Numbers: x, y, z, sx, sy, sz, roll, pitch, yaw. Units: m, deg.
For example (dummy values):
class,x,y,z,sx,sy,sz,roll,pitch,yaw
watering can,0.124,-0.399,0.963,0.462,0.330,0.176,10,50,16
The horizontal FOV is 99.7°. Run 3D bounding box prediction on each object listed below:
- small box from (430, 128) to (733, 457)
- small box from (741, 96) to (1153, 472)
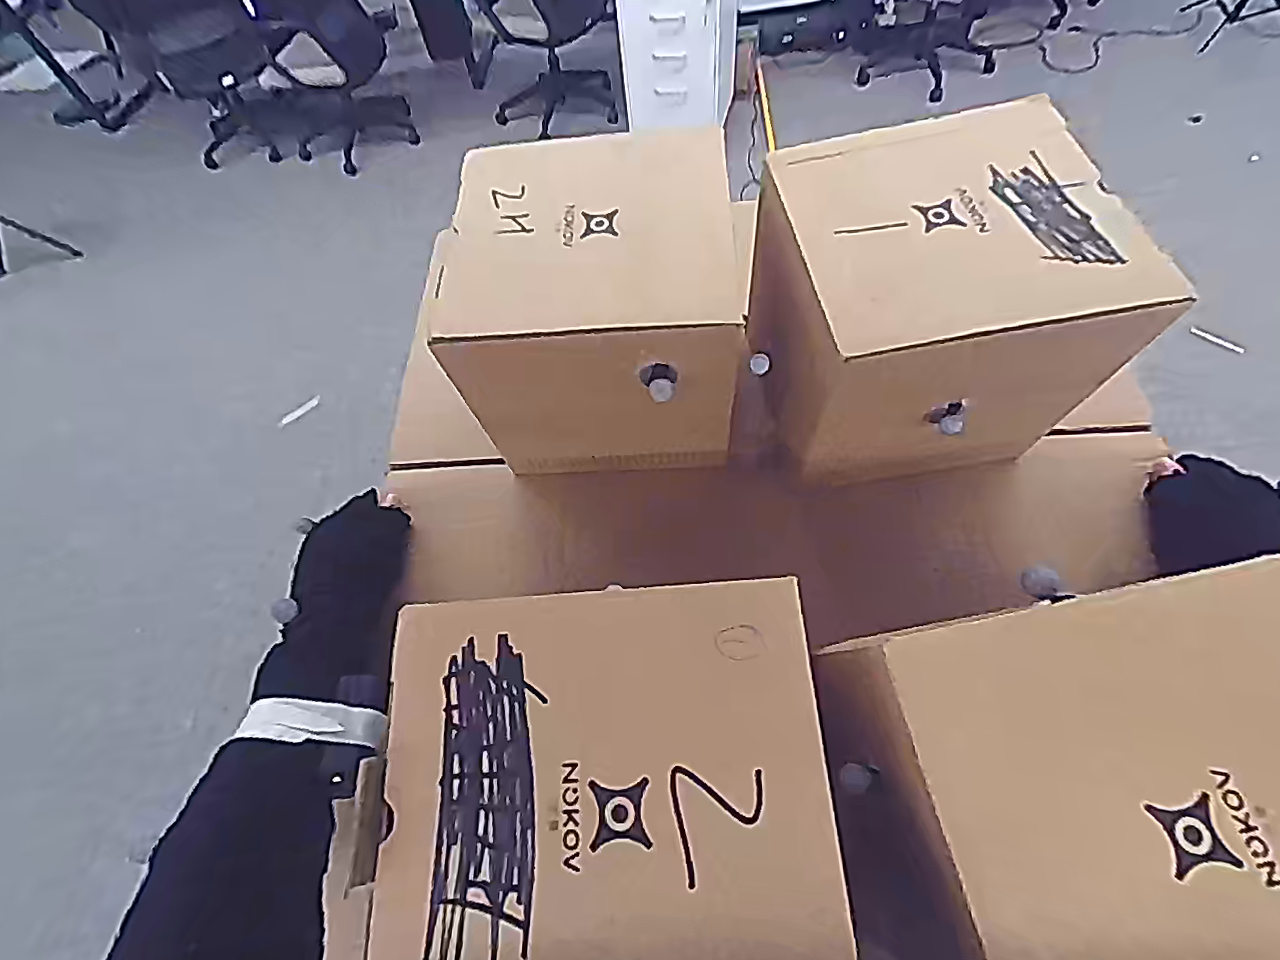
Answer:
class,x,y,z,sx,sy,sz,roll,pitch,yaw
small box,-0.027,-0.126,0.410,0.179,0.176,0.168,-1,64,6
small box,0.177,-0.121,0.383,0.179,0.176,0.168,-10,65,3
